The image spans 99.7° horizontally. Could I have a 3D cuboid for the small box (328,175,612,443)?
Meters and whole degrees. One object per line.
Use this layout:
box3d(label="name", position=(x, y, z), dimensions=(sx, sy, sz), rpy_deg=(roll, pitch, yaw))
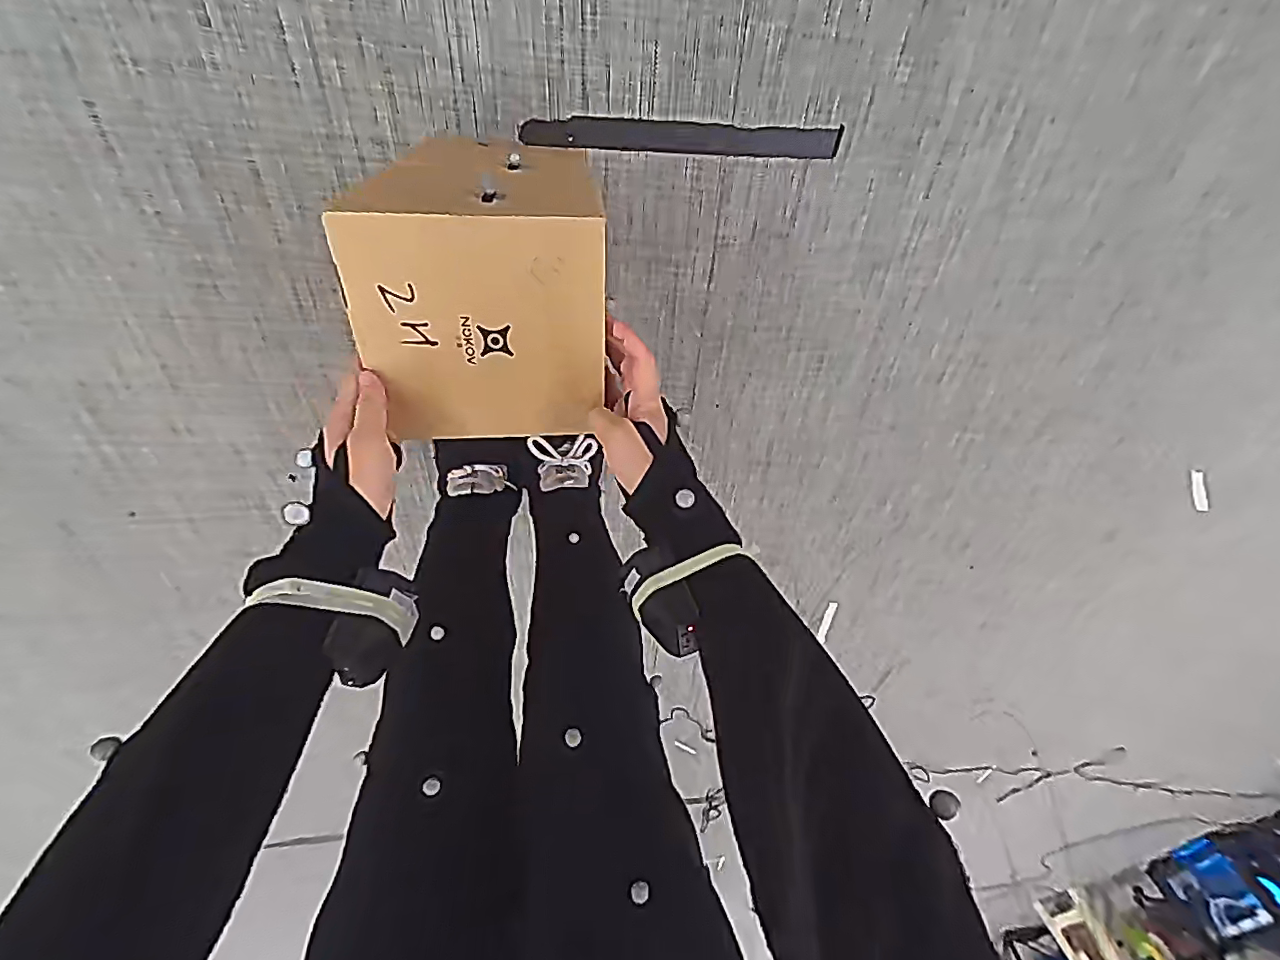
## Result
box3d(label="small box", position=(-0.119, -0.145, 0.447), dimensions=(0.179, 0.176, 0.168), rpy_deg=(-2, 127, -7))

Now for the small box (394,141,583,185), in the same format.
box3d(label="small box", position=(-0.144, -0.243, 0.580), dimensions=(0.168, 0.176, 0.179), rpy_deg=(0, 129, -9))
